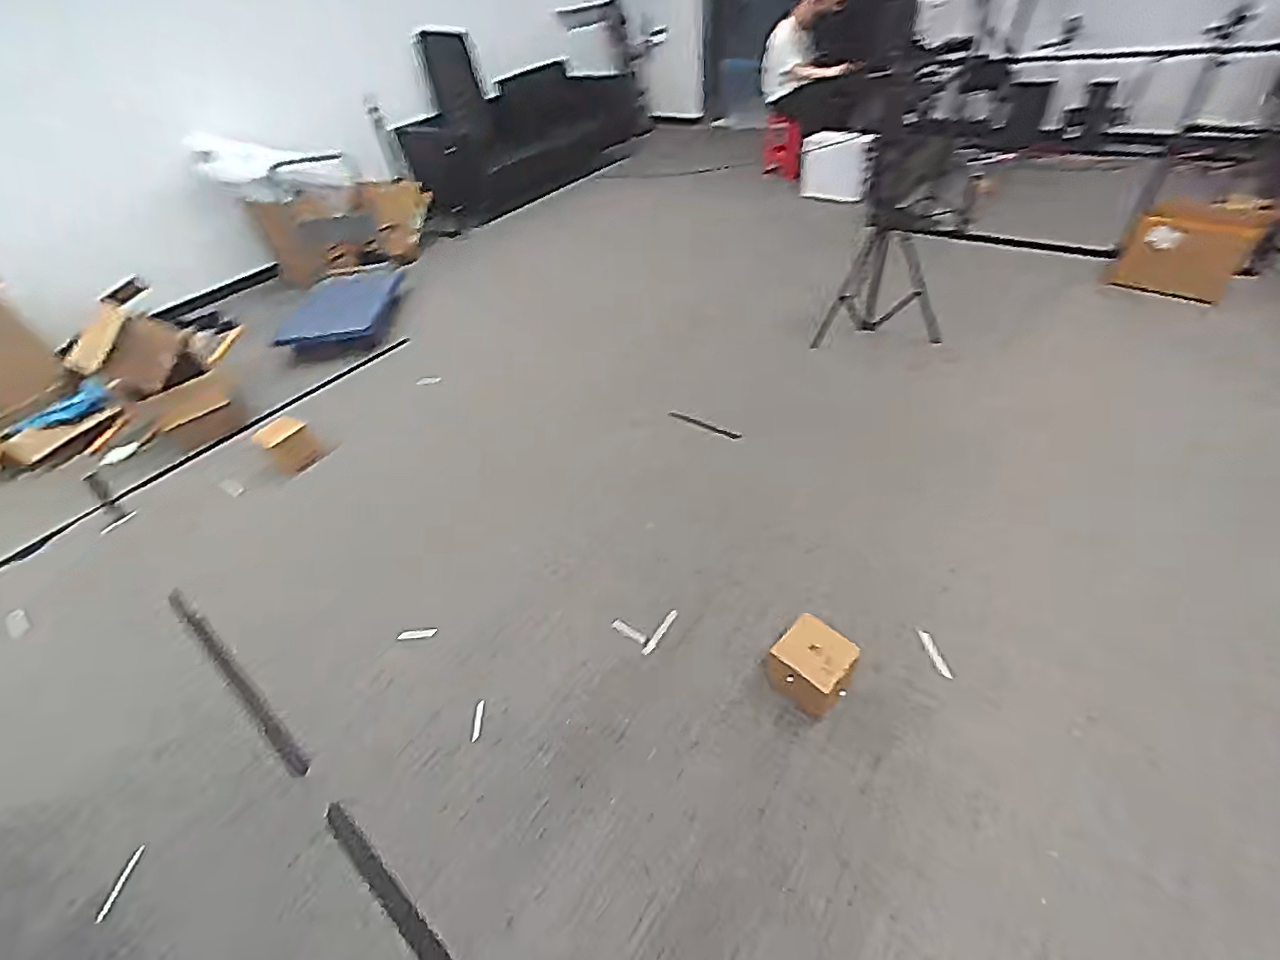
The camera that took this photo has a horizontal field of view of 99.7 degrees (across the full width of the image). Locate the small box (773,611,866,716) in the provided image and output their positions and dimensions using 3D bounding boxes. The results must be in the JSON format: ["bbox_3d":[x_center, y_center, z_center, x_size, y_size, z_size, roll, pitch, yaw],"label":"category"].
[{"bbox_3d":[0.479,0.500,1.469,0.168,0.176,0.179,-36,50,-25],"label":"small box"}]

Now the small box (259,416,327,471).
[{"bbox_3d":[-1.587,-0.166,2.483,0.179,0.176,0.168,19,50,26],"label":"small box"}]
